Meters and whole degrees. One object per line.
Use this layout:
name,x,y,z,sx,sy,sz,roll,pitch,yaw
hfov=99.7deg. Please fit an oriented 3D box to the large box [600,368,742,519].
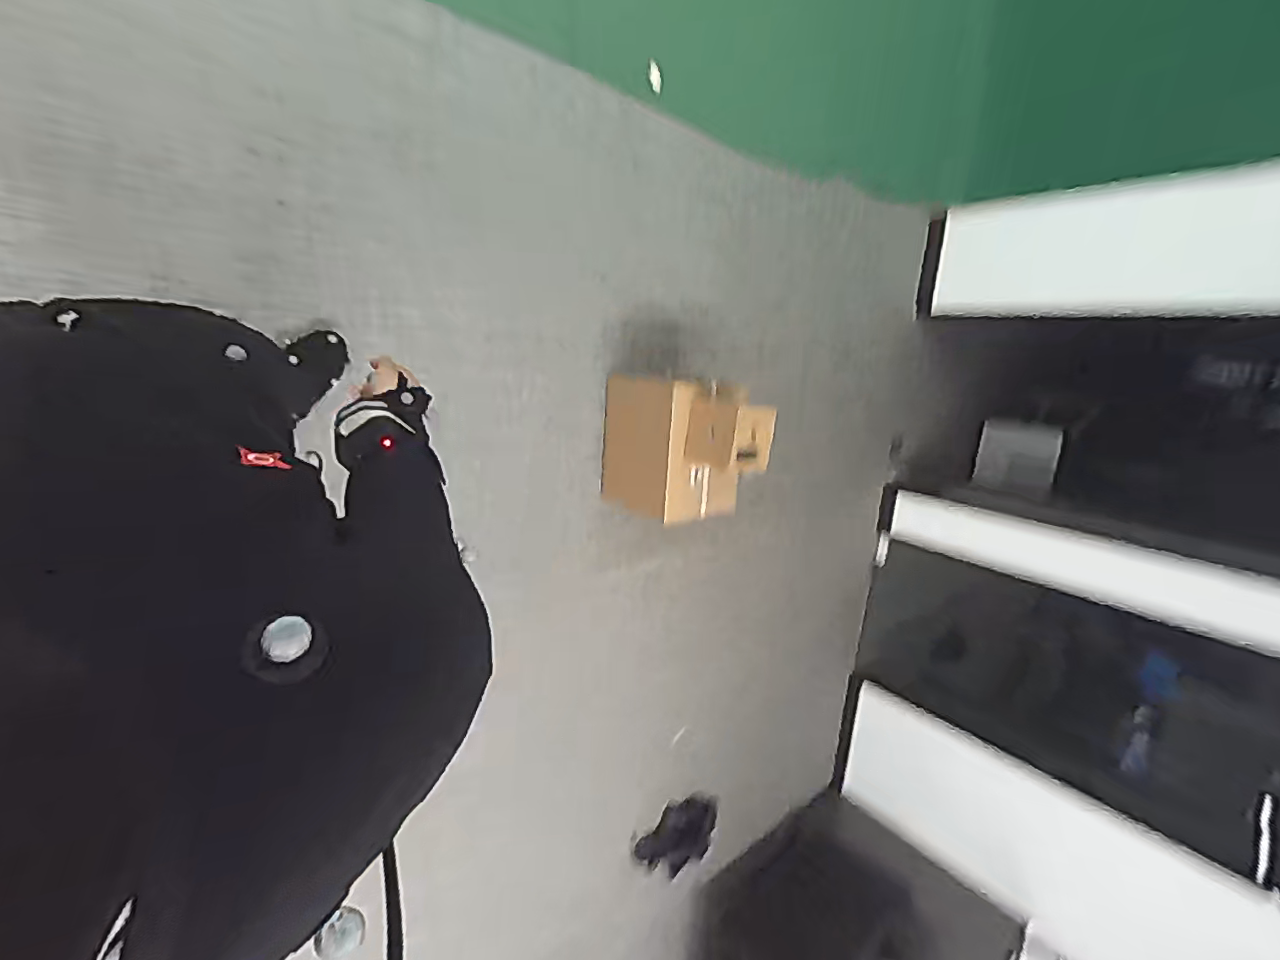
large box,0.087,-0.135,1.704,0.320,0.320,0.408,-9,110,-38
